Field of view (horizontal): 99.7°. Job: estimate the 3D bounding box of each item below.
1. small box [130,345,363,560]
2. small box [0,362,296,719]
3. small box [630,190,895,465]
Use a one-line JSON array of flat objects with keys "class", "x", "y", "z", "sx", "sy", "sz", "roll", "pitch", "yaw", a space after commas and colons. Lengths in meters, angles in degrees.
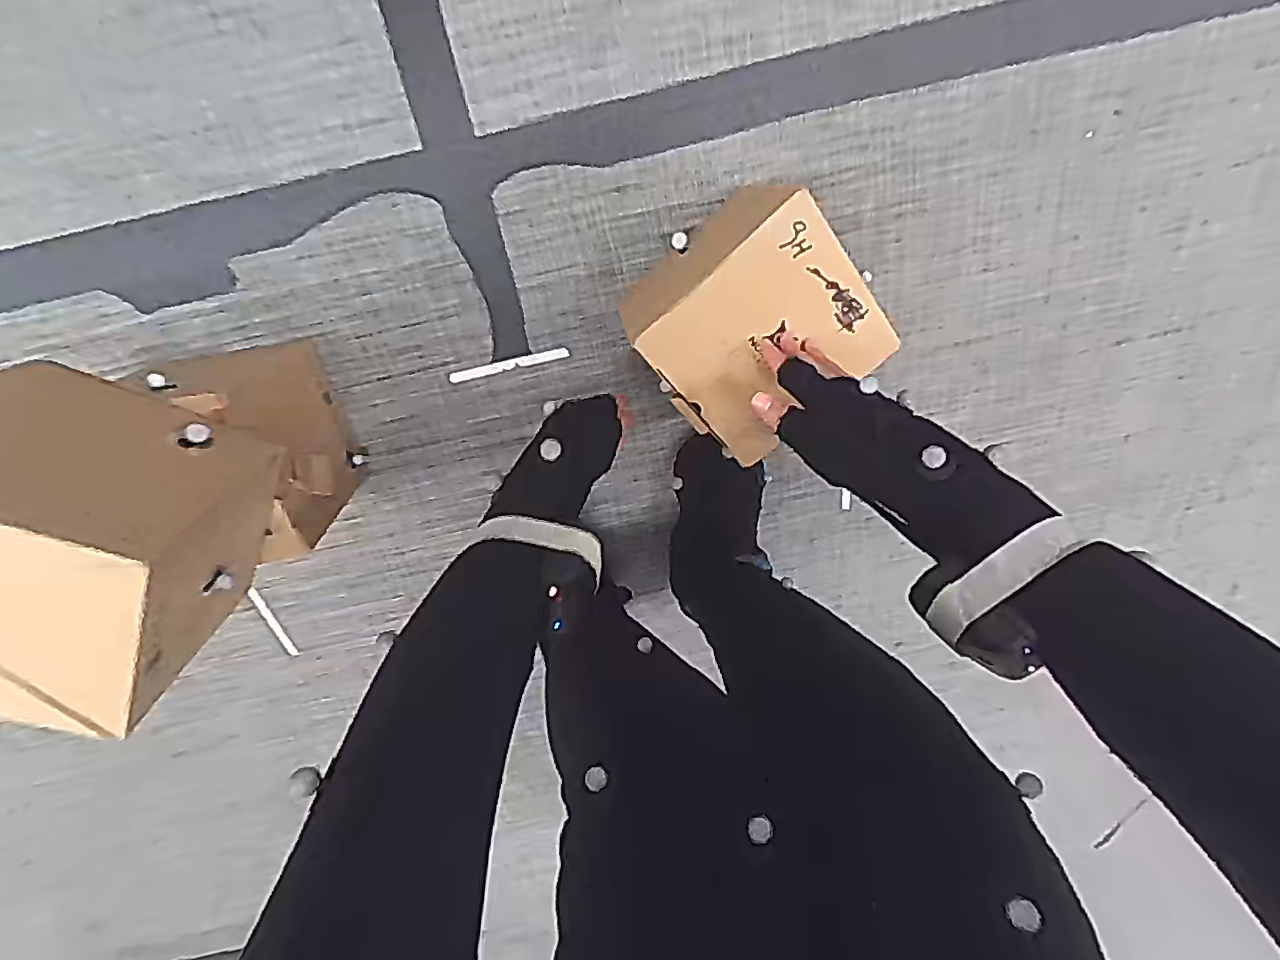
[{"class": "small box", "x": -0.408, "y": -0.027, "z": 0.544, "sx": 0.179, "sy": 0.176, "sz": 0.168, "roll": -10, "pitch": 119, "yaw": 0}, {"class": "small box", "x": -0.394, "y": 0.043, "z": 0.392, "sx": 0.179, "sy": 0.176, "sz": 0.168, "roll": 22, "pitch": 114, "yaw": -16}, {"class": "small box", "x": 0.102, "y": -0.154, "z": 0.532, "sx": 0.179, "sy": 0.176, "sz": 0.168, "roll": -38, "pitch": 118, "yaw": 15}]
